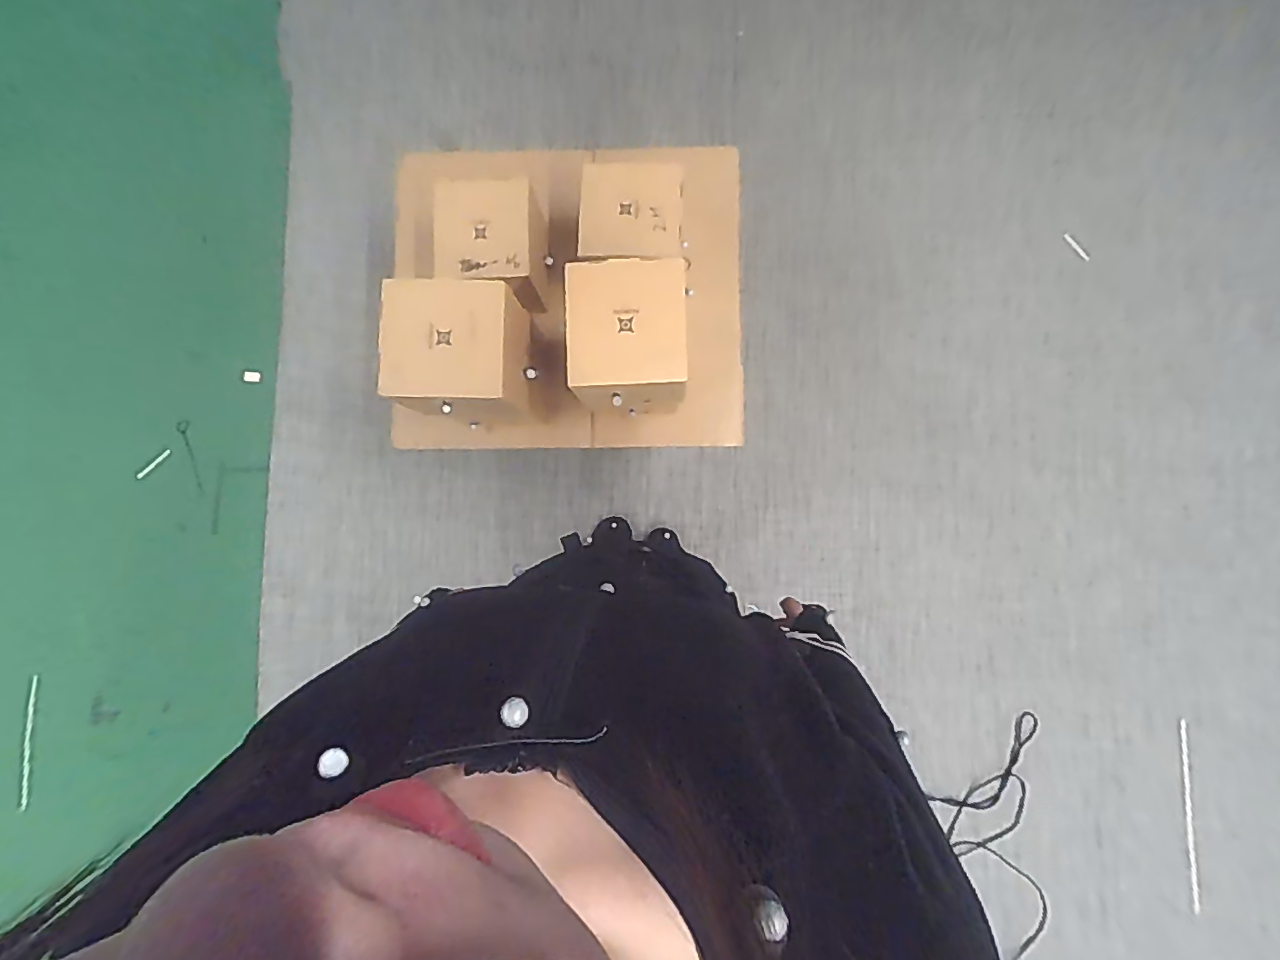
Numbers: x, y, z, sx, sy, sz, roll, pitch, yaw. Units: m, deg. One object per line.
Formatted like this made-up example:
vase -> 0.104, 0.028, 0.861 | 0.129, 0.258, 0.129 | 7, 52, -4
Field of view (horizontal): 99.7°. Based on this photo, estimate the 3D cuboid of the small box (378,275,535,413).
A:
small box -> -0.268, -0.197, 0.823 | 0.179, 0.176, 0.168 | 2, 88, 2

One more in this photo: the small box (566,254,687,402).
small box -> -0.014, -0.215, 0.813 | 0.168, 0.176, 0.179 | -2, 86, 3

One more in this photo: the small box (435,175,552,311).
small box -> -0.261, -0.427, 0.997 | 0.168, 0.176, 0.179 | -1, 86, 4
